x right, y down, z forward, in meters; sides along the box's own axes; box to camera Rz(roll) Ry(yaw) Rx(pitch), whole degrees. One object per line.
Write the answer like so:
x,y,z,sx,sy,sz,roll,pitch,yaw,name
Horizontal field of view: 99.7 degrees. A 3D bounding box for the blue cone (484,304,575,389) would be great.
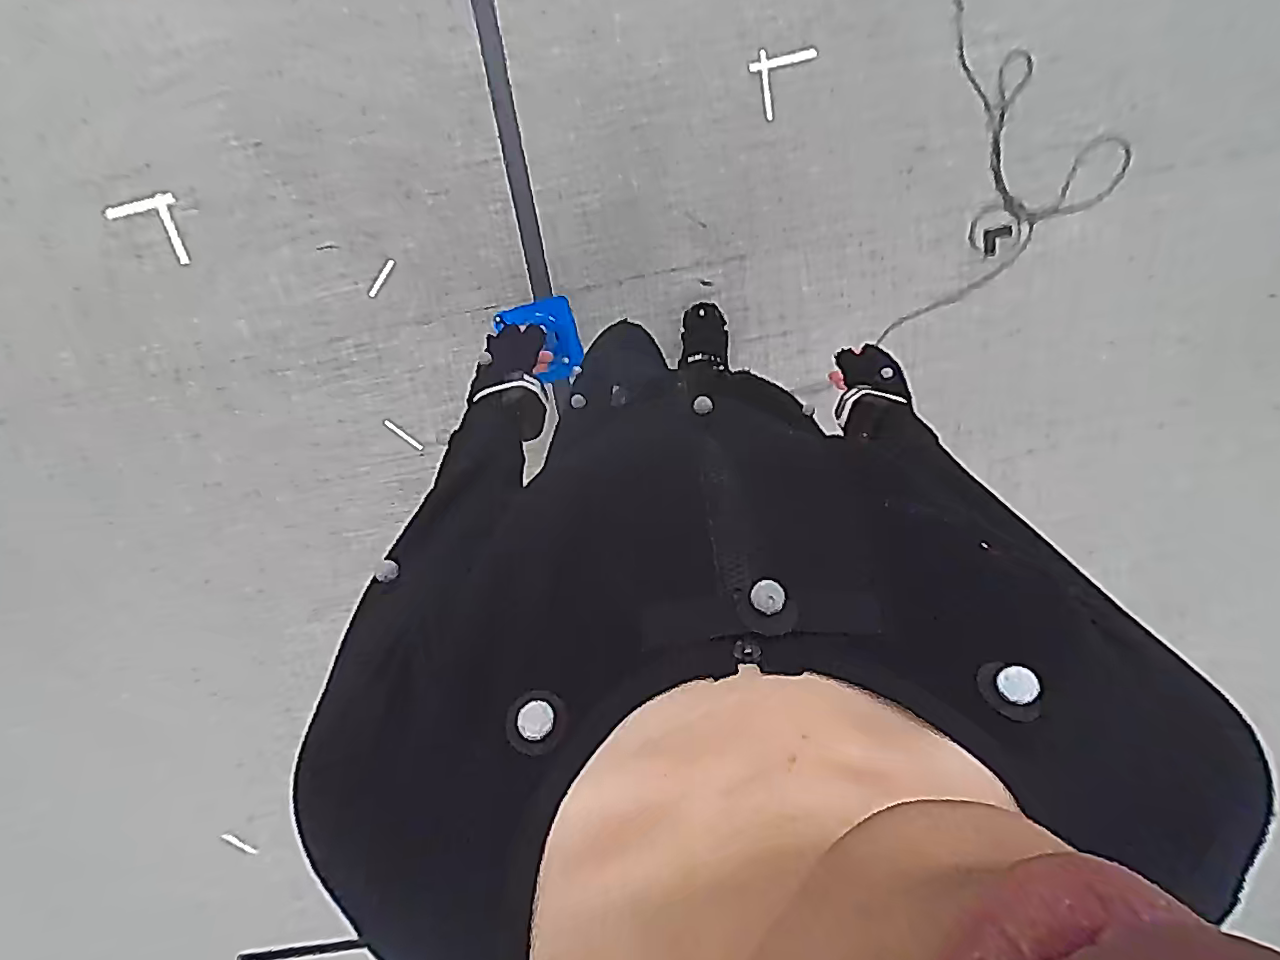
-0.273,-0.300,1.225,0.192,0.380,0.193,-13,105,4,blue cone
